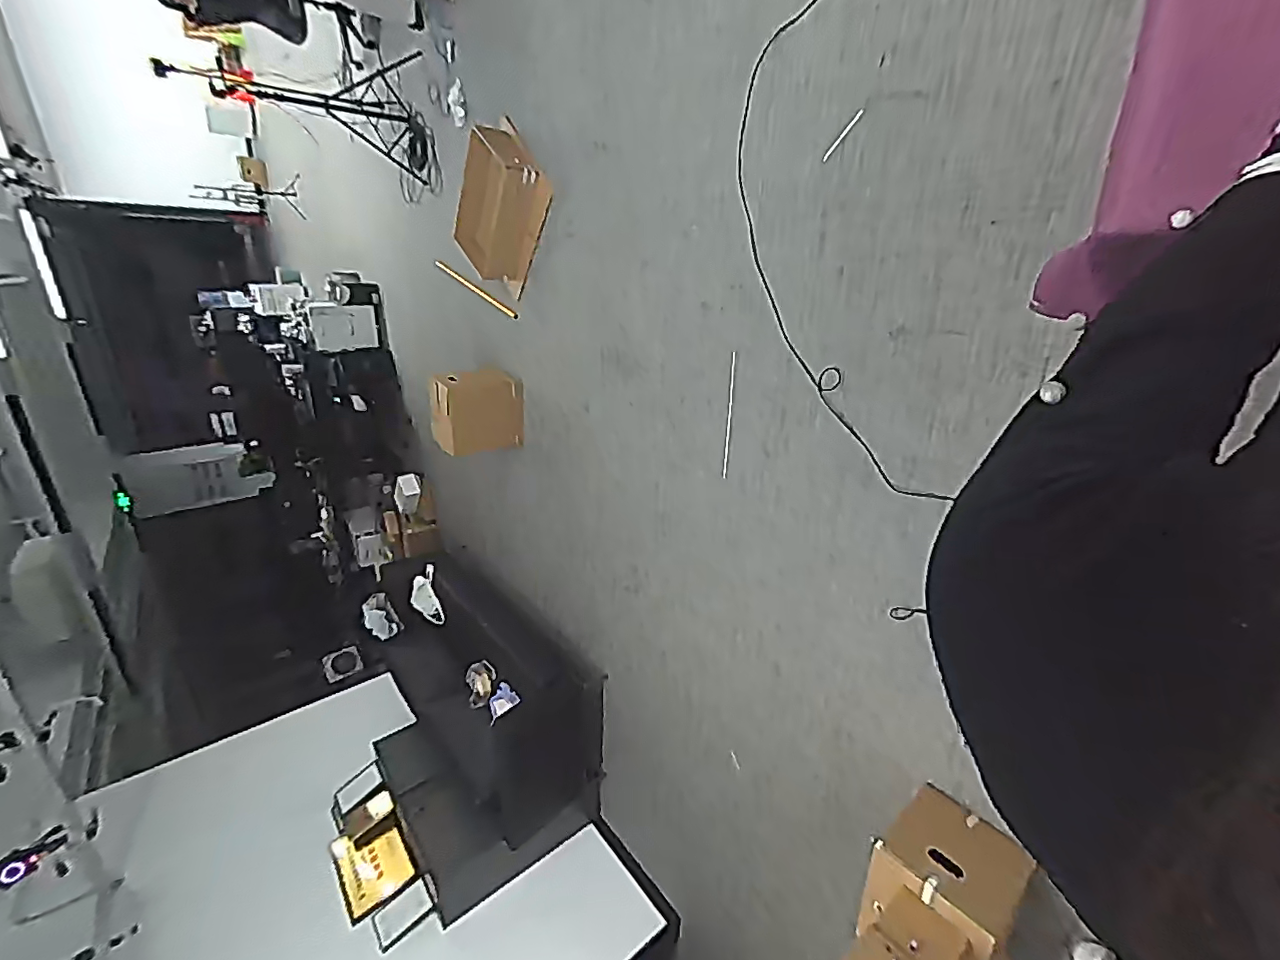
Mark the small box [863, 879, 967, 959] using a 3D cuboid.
[{"bbox_3d":[0.714,1.195,1.408,0.179,0.176,0.168,21,119,45],"label":"small box"}]
